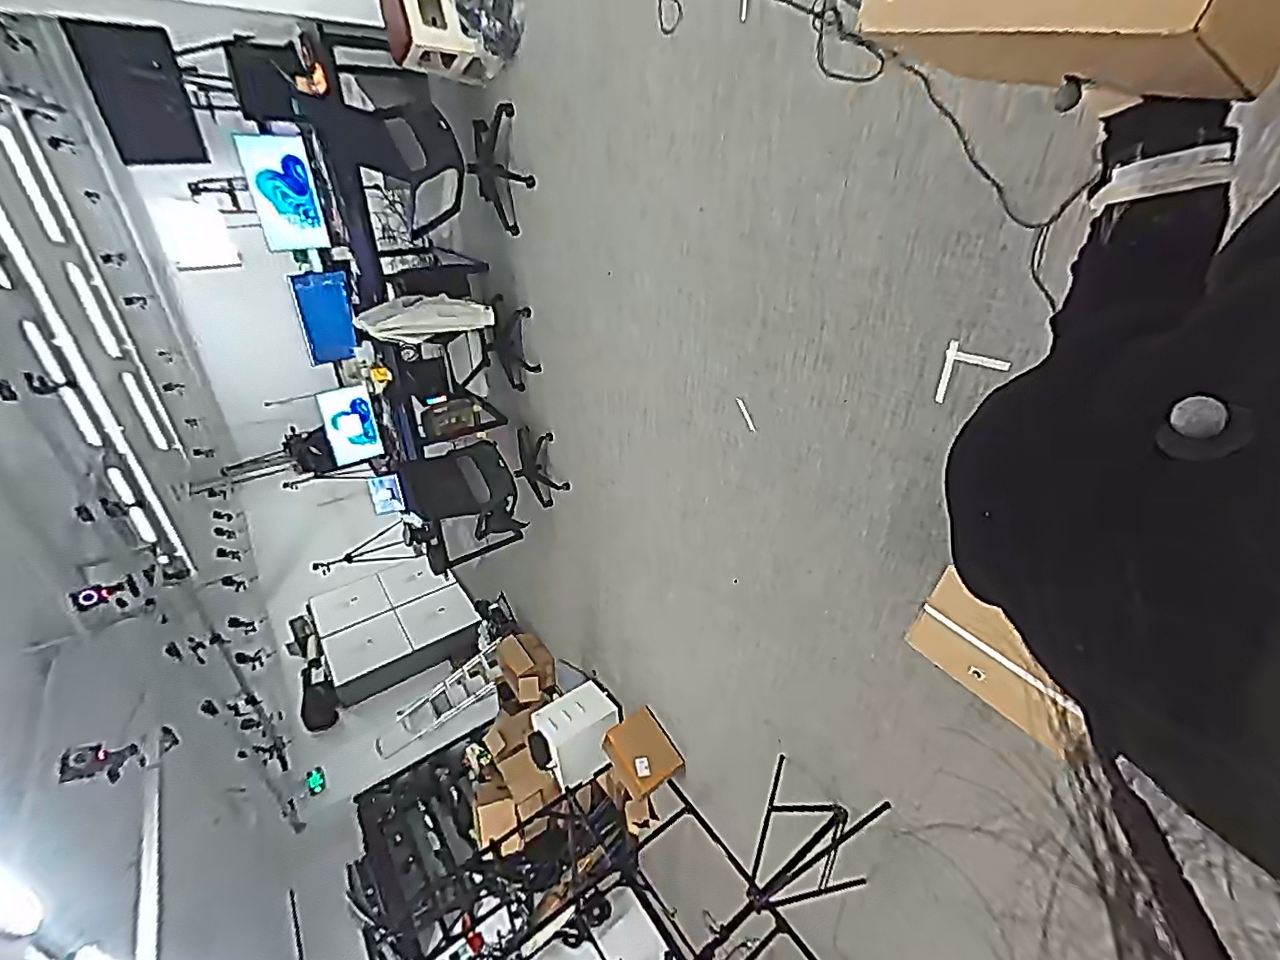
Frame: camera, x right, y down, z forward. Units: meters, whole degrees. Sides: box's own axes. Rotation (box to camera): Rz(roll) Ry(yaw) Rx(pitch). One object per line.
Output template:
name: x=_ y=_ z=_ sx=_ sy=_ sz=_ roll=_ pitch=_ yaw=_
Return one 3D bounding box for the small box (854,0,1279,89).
small box: x=0.257 y=-0.318 z=0.279 sx=0.179 sy=0.176 sz=0.168 roll=42 pitch=134 yaw=38
